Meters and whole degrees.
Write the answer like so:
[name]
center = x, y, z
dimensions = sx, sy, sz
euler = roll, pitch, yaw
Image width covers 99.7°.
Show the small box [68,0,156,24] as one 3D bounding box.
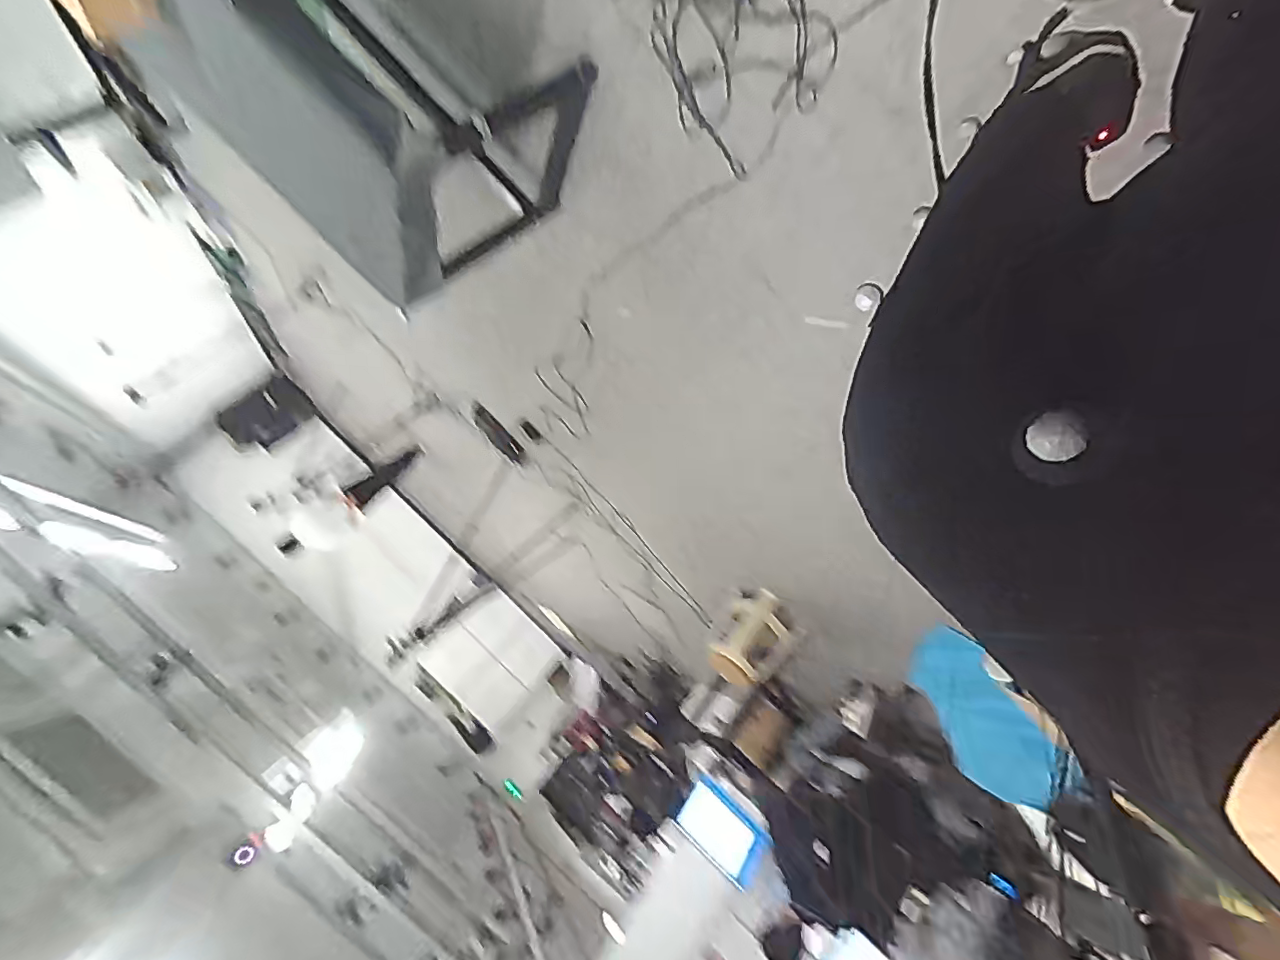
[small box]
center = -1.306, -1.241, 1.270
dimensions = 0.179, 0.176, 0.168
euler = 51, 155, -18
